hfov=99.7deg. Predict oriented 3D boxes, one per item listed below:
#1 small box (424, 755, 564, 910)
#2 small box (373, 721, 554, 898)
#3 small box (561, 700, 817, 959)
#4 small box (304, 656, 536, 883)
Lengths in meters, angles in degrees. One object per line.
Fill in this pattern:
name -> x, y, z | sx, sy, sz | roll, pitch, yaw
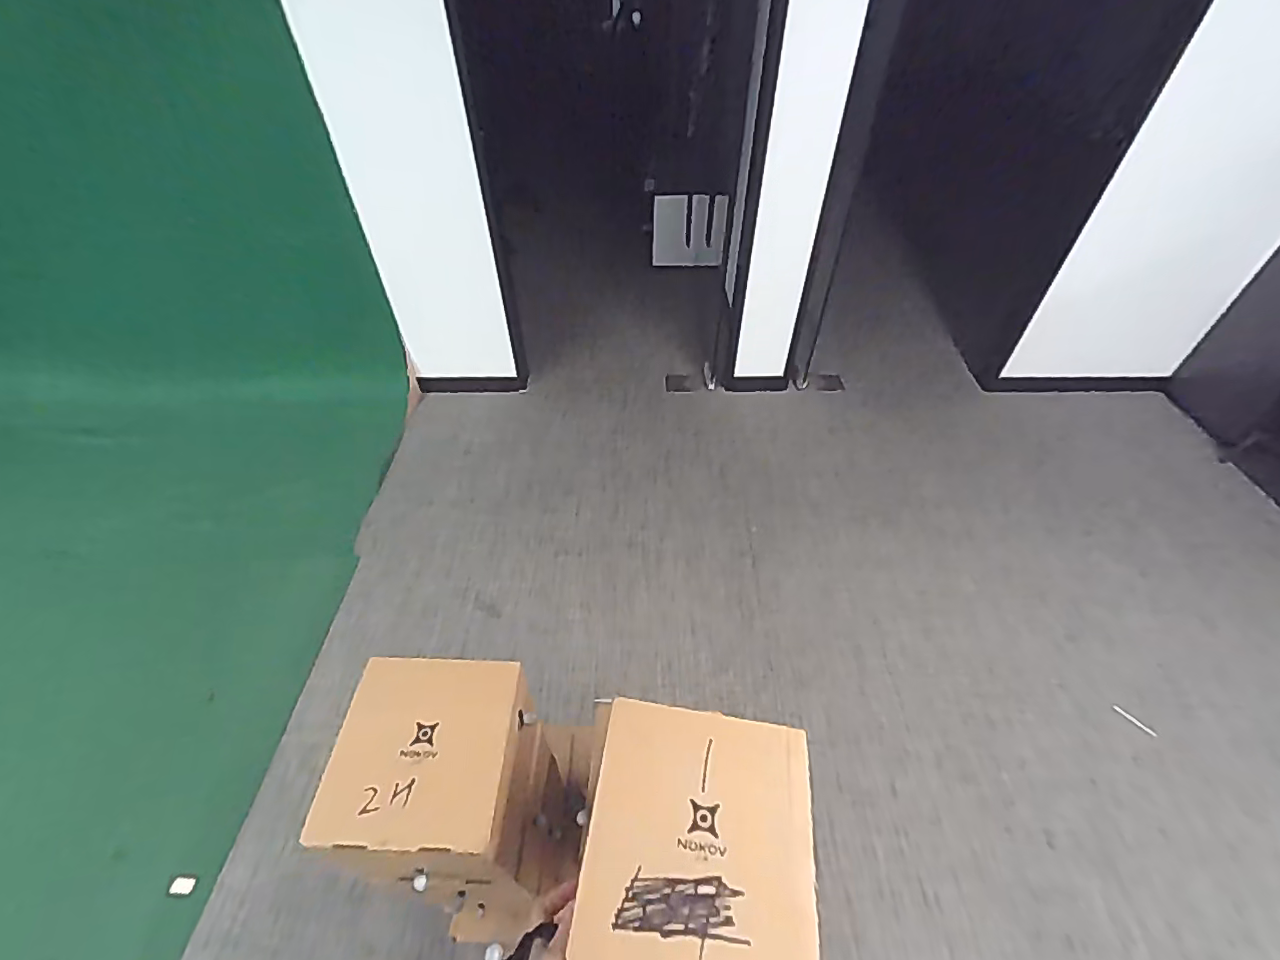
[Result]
small box -> -0.210, 0.537, 0.826 | 0.168, 0.176, 0.179 | 1, 47, 0
small box -> -0.209, 0.428, 0.704 | 0.168, 0.176, 0.179 | 2, 48, 0
small box -> 0.041, 0.314, 0.450 | 0.168, 0.176, 0.179 | 9, 46, 4
small box -> -0.212, 0.313, 0.585 | 0.168, 0.176, 0.179 | 2, 47, 1
